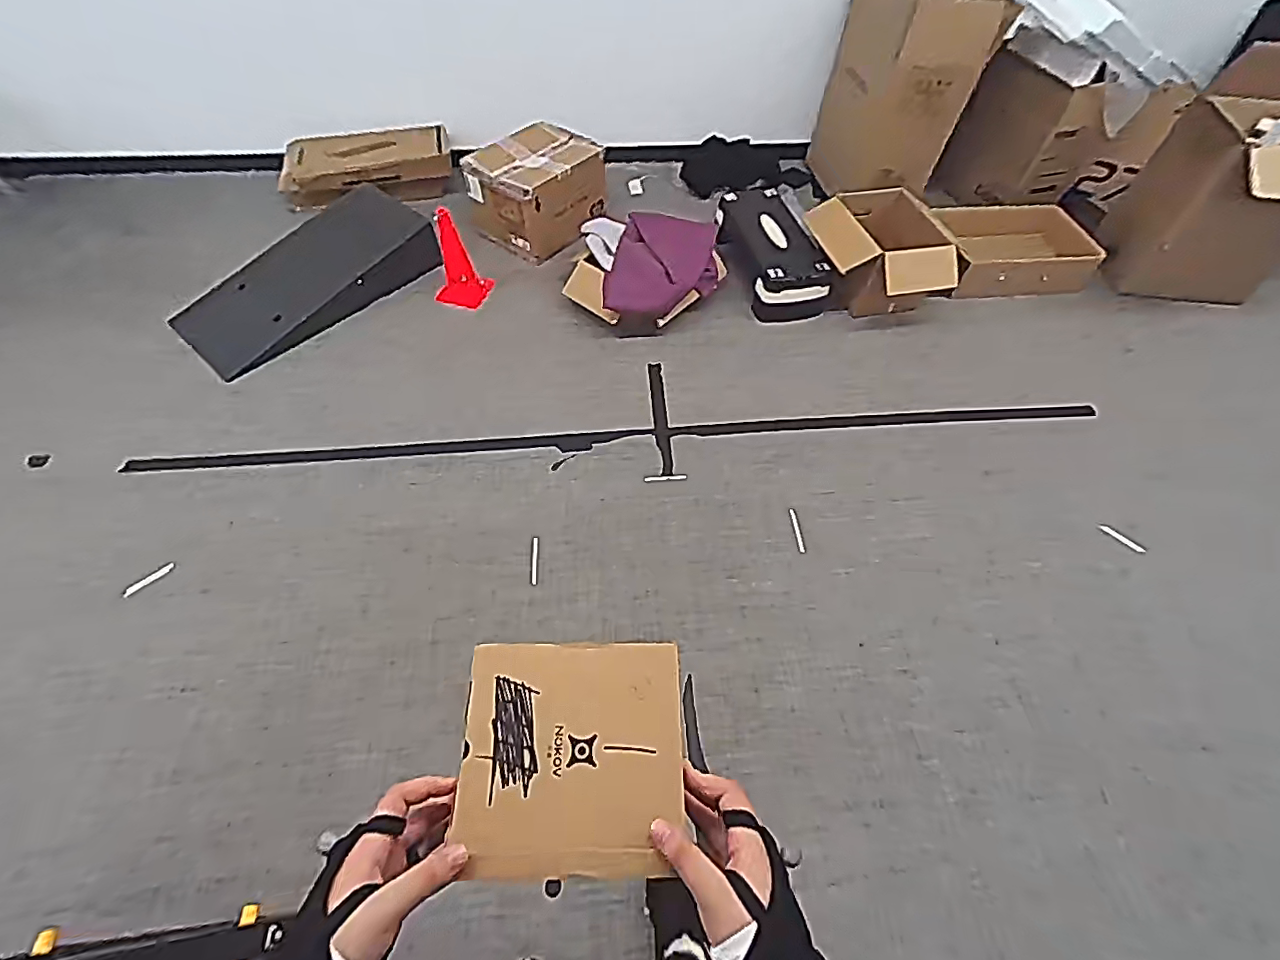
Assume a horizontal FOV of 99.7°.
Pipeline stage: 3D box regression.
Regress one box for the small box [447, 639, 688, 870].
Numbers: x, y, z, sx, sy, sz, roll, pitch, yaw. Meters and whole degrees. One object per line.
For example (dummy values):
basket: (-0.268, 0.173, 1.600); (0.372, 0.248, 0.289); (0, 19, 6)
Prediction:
small box: (-0.053, 0.250, 0.494); (0.179, 0.176, 0.168); (1, 59, -2)
